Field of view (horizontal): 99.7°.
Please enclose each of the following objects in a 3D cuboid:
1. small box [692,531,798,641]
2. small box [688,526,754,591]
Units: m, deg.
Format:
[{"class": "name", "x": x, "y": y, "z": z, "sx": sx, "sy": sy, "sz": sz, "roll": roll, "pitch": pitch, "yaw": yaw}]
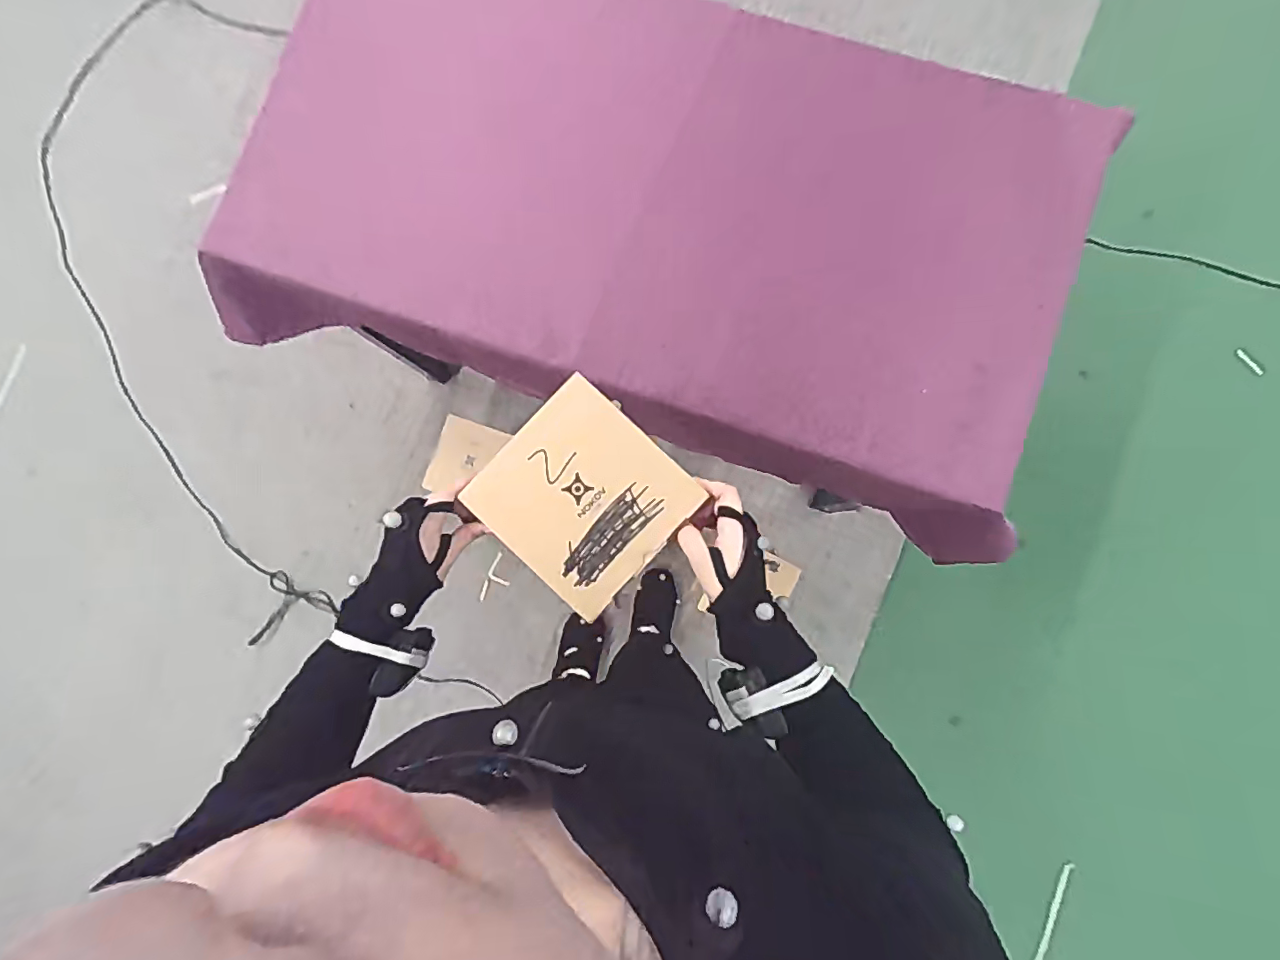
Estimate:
[{"class": "small box", "x": 0.227, "y": 0.228, "z": 1.208, "sx": 0.168, "sy": 0.176, "sz": 0.179, "roll": 27, "pitch": 88, "yaw": 4}, {"class": "small box", "x": 0.233, "y": 0.234, "z": 1.373, "sx": 0.168, "sy": 0.176, "sz": 0.179, "roll": 31, "pitch": 86, "yaw": 4}]
